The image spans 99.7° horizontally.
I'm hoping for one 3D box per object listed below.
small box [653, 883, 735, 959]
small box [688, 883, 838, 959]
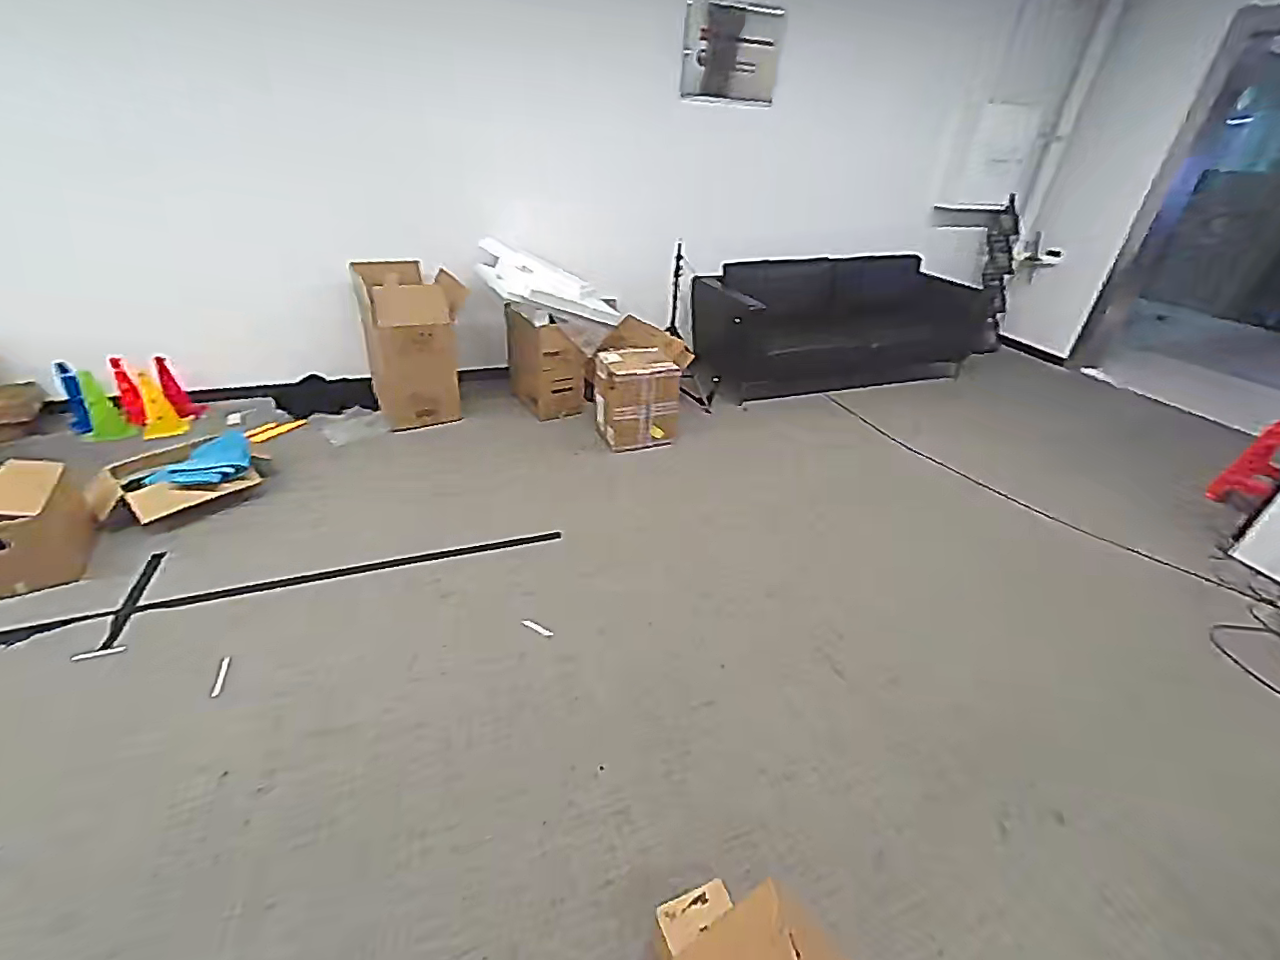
[{"bbox_3d":[0.137,1.033,1.170,0.168,0.176,0.179,-9,35,-20],"label":"small box"},{"bbox_3d":[0.111,0.485,0.417,0.179,0.176,0.168,49,0,2],"label":"small box"}]
